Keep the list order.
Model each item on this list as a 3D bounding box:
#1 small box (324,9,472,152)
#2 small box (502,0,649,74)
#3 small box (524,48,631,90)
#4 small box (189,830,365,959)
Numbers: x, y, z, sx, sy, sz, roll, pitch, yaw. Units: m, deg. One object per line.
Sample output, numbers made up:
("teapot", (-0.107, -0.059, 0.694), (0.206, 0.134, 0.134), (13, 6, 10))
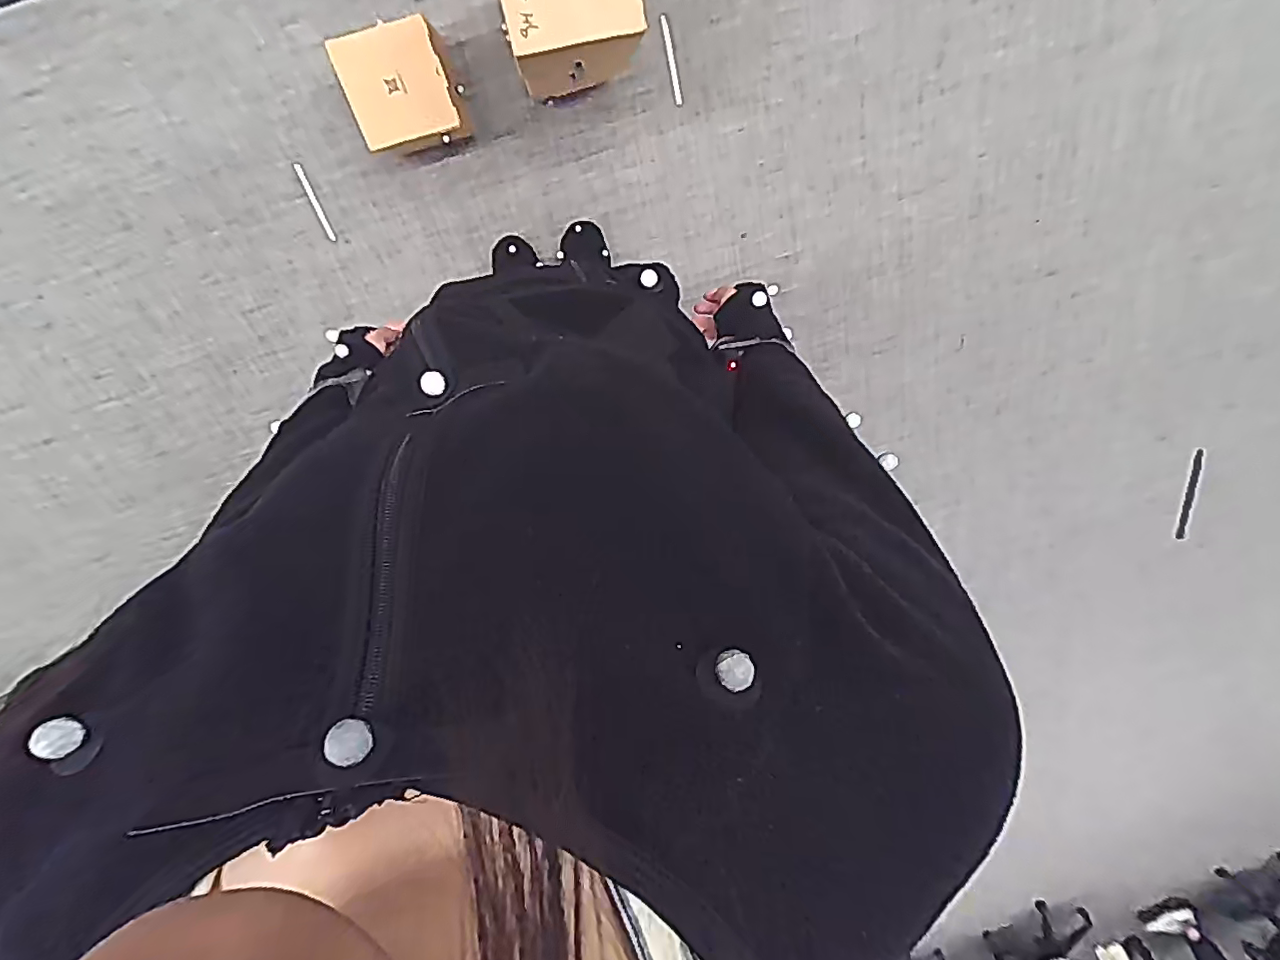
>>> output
("small box", (-0.435, -0.728, 1.005), (0.179, 0.176, 0.168), (-16, 119, 0))
("small box", (-0.098, -0.661, 0.713), (0.179, 0.176, 0.168), (-13, 119, -3))
("small box", (-0.120, -0.741, 0.854), (0.179, 0.176, 0.168), (-15, 120, -1))
("small box", (-0.611, 0.750, 0.944), (0.179, 0.176, 0.168), (-17, 118, 2))
